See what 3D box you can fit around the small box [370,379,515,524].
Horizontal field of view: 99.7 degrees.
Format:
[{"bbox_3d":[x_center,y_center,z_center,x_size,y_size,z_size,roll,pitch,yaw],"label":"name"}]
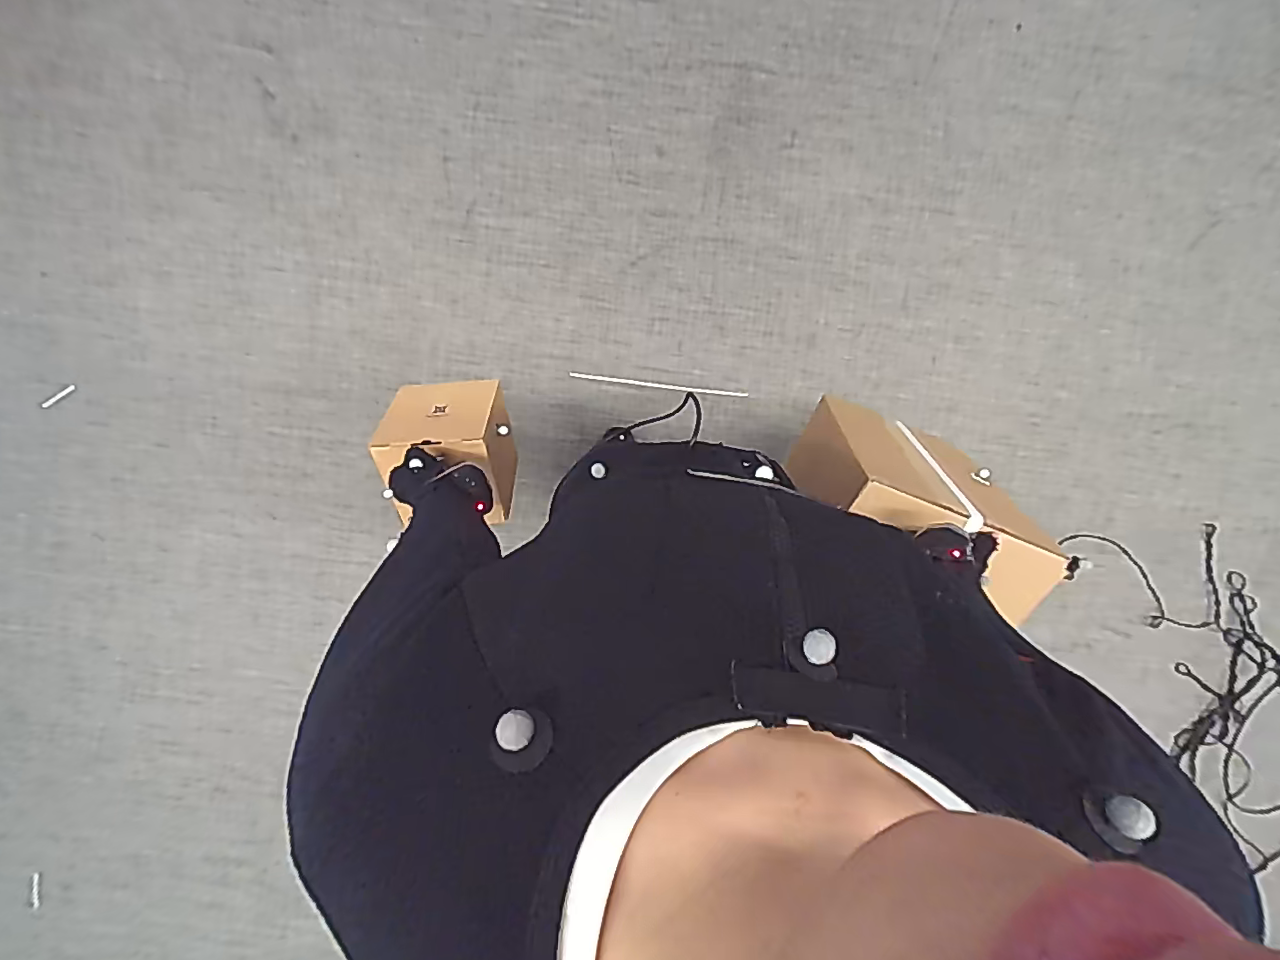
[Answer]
[{"bbox_3d":[-0.309,-0.048,0.891,0.168,0.179,0.176,-4,130,-1],"label":"small box"}]
